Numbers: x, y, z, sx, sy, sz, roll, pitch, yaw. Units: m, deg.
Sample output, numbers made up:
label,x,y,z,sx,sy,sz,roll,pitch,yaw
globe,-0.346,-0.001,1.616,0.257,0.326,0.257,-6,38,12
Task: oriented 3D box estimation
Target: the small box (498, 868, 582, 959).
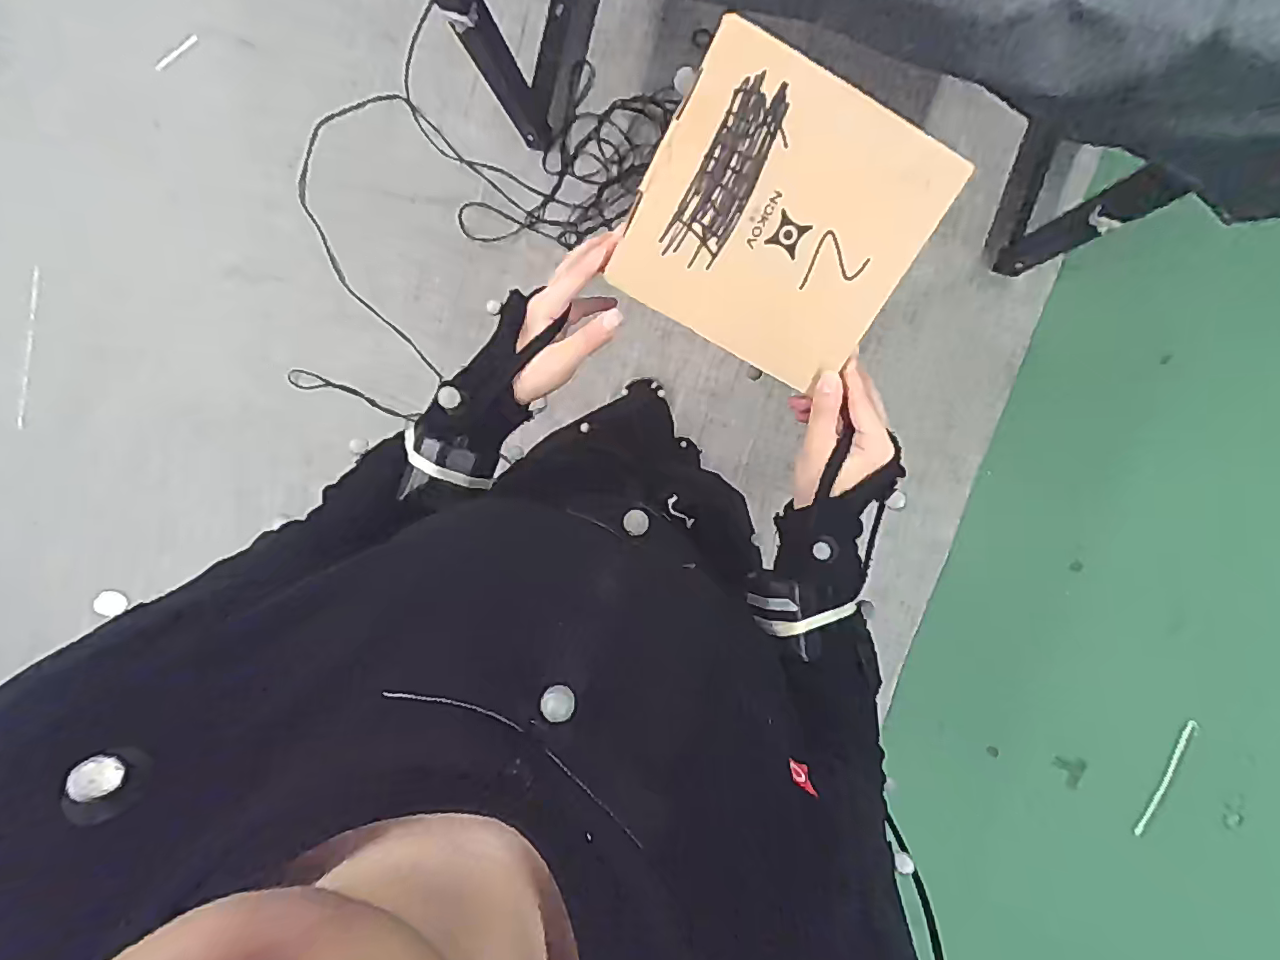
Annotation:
label,x,y,z,sx,sy,sz,roll,pitch,yaw
small box,-0.260,1.185,1.425,0.168,0.176,0.179,15,97,3
